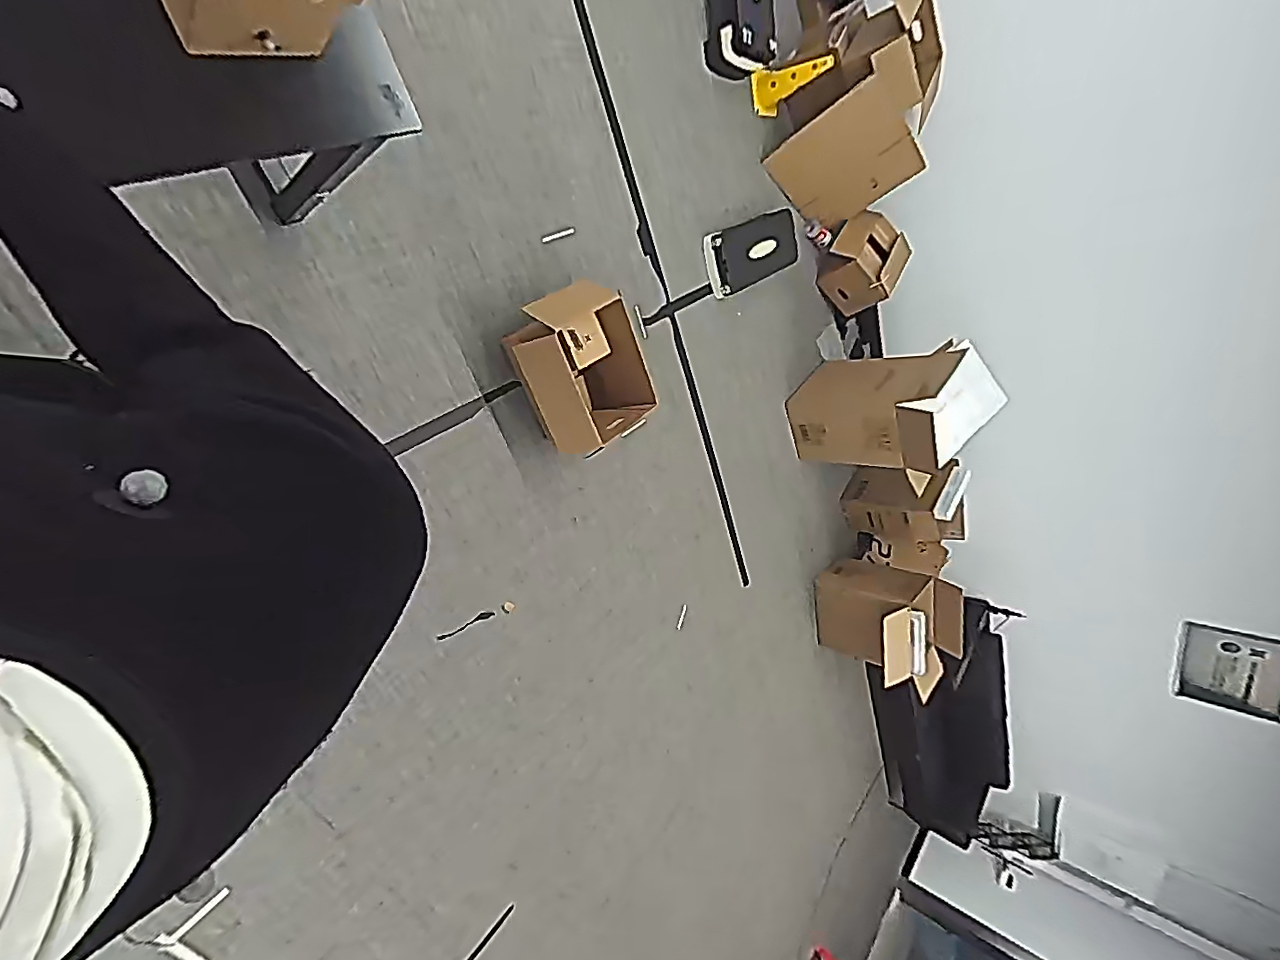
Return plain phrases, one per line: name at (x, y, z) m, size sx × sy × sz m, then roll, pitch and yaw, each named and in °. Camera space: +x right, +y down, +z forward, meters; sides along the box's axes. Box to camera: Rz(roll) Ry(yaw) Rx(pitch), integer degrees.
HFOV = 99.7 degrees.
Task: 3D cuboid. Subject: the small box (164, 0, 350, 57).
small box at (-0.480, -0.642, 0.637) m, size 0.168 × 0.176 × 0.179 m, roll -33°, pitch 118°, yaw -36°
